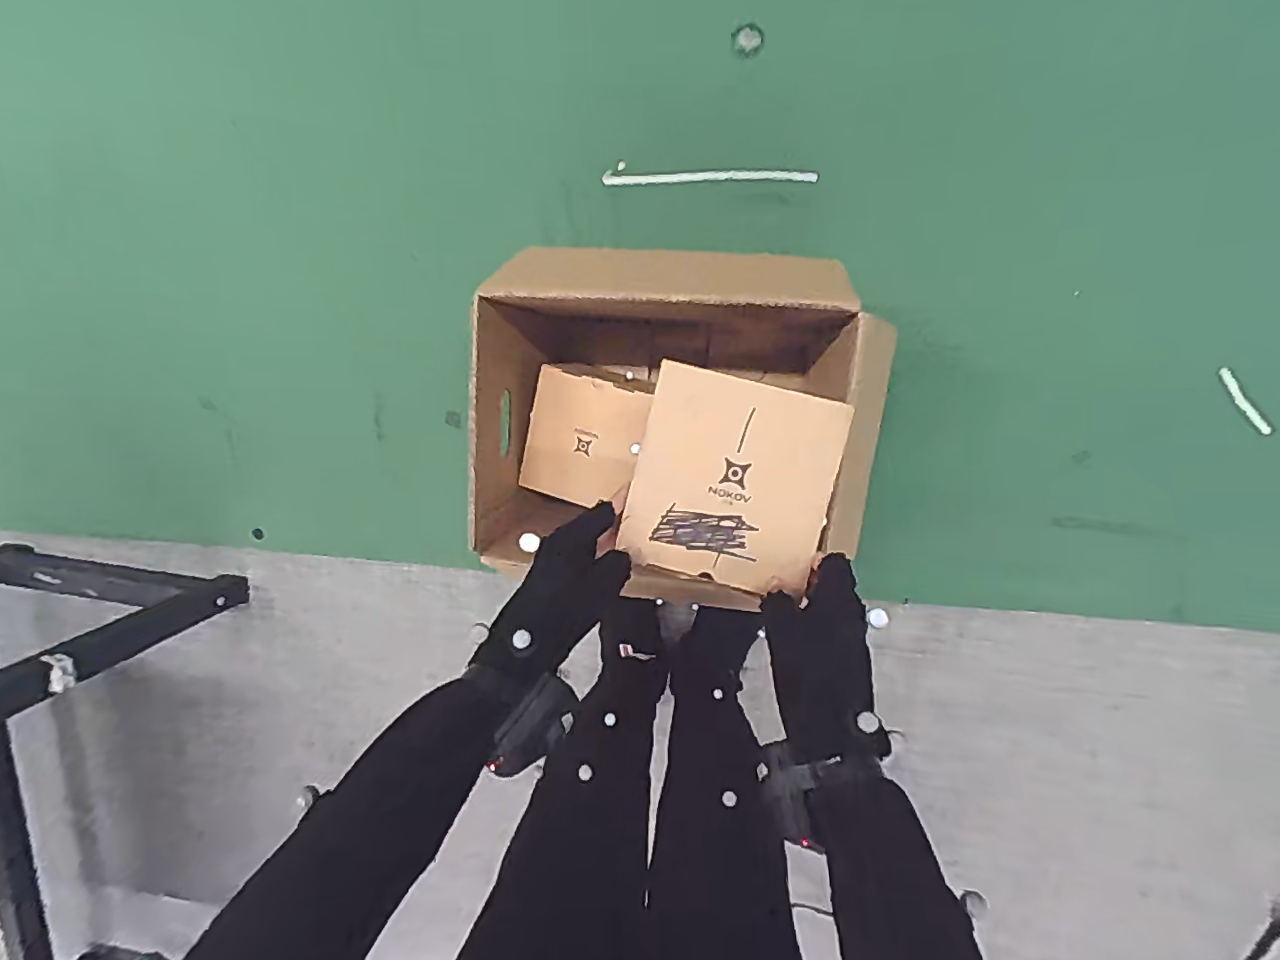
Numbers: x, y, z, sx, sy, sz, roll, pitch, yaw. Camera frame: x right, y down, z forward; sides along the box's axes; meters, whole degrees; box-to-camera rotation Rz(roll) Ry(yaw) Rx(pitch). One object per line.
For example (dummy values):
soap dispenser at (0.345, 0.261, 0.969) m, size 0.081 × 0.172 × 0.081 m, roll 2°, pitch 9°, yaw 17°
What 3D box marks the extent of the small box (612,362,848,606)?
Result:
small box at (0.082, 0.001, 0.539) m, size 0.168 × 0.176 × 0.179 m, roll 15°, pitch 92°, yaw 4°
